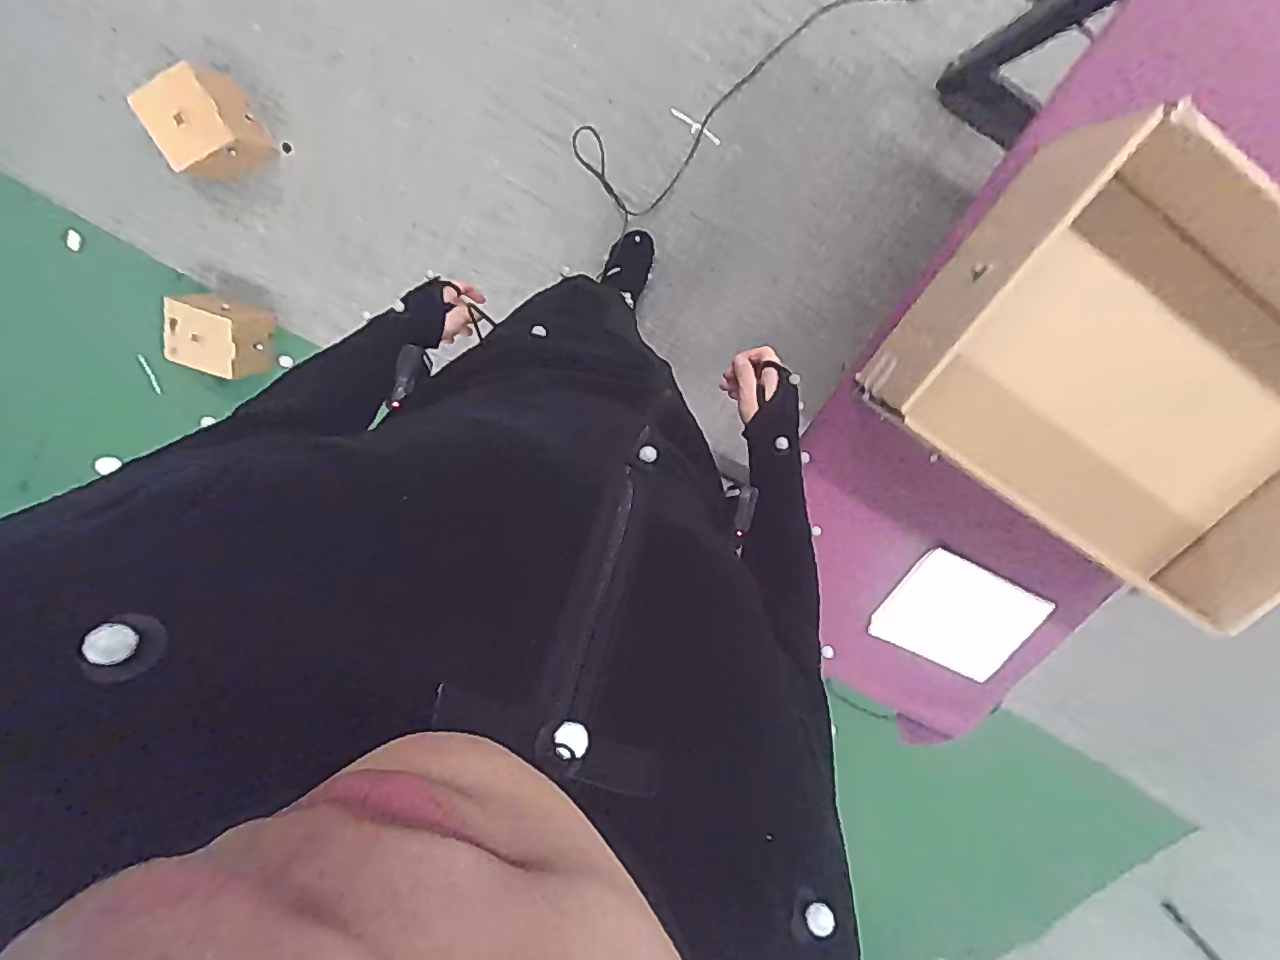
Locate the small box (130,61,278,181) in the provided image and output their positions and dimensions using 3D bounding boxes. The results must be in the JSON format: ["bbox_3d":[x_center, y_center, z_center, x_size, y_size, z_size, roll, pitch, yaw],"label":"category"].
[{"bbox_3d":[-1.023,-0.838,1.285,0.179,0.176,0.168,-23,110,9],"label":"small box"}]

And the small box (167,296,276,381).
[{"bbox_3d":[-1.131,-0.391,1.470,0.179,0.176,0.168,19,112,-6],"label":"small box"}]
